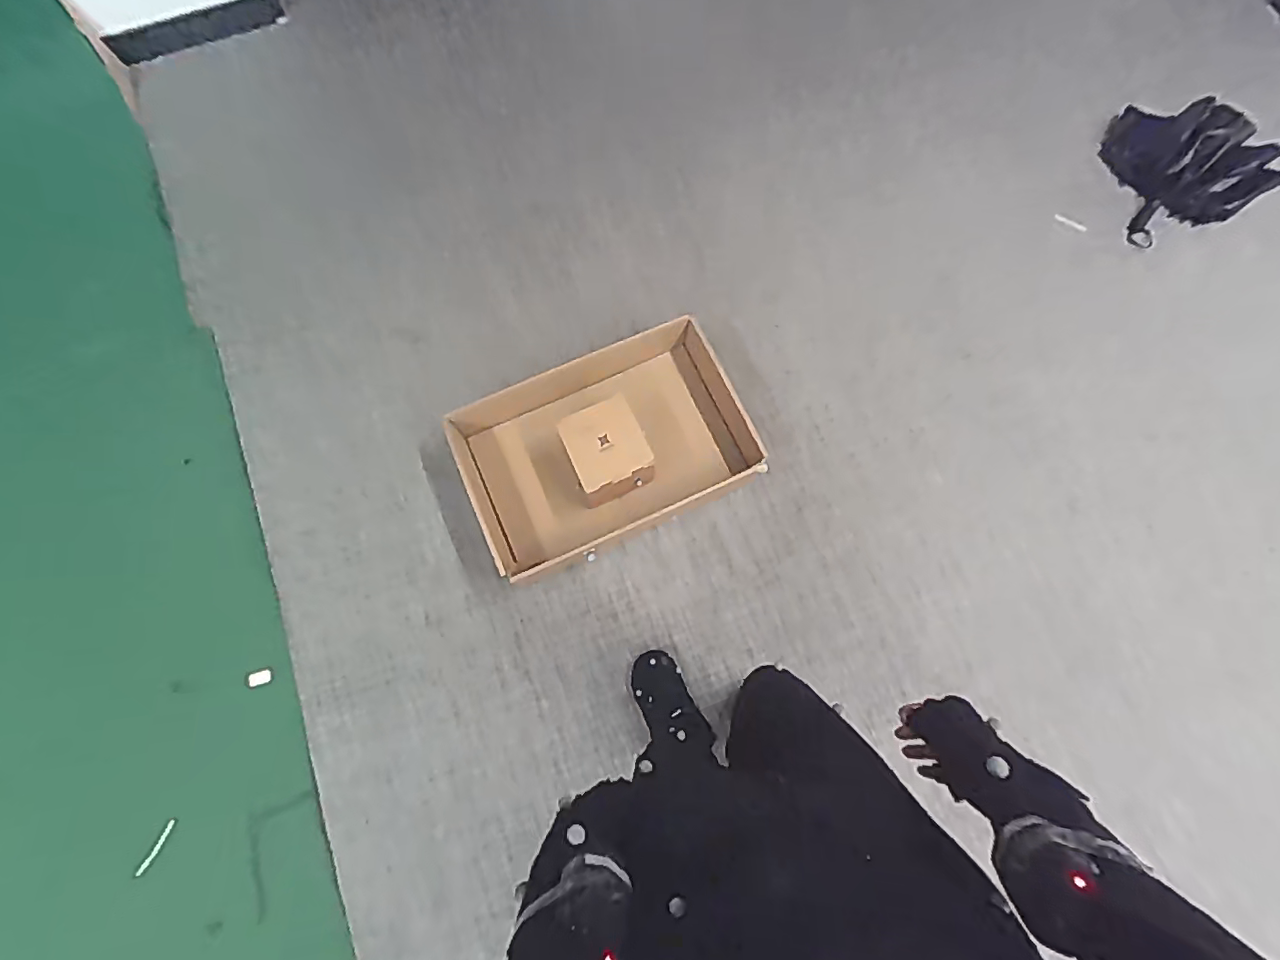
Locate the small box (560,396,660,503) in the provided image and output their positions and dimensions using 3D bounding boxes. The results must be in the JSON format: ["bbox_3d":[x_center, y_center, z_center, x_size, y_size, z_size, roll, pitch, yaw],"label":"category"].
[{"bbox_3d":[-0.063,-0.059,1.230,0.168,0.176,0.179,-25,77,-7],"label":"small box"}]
